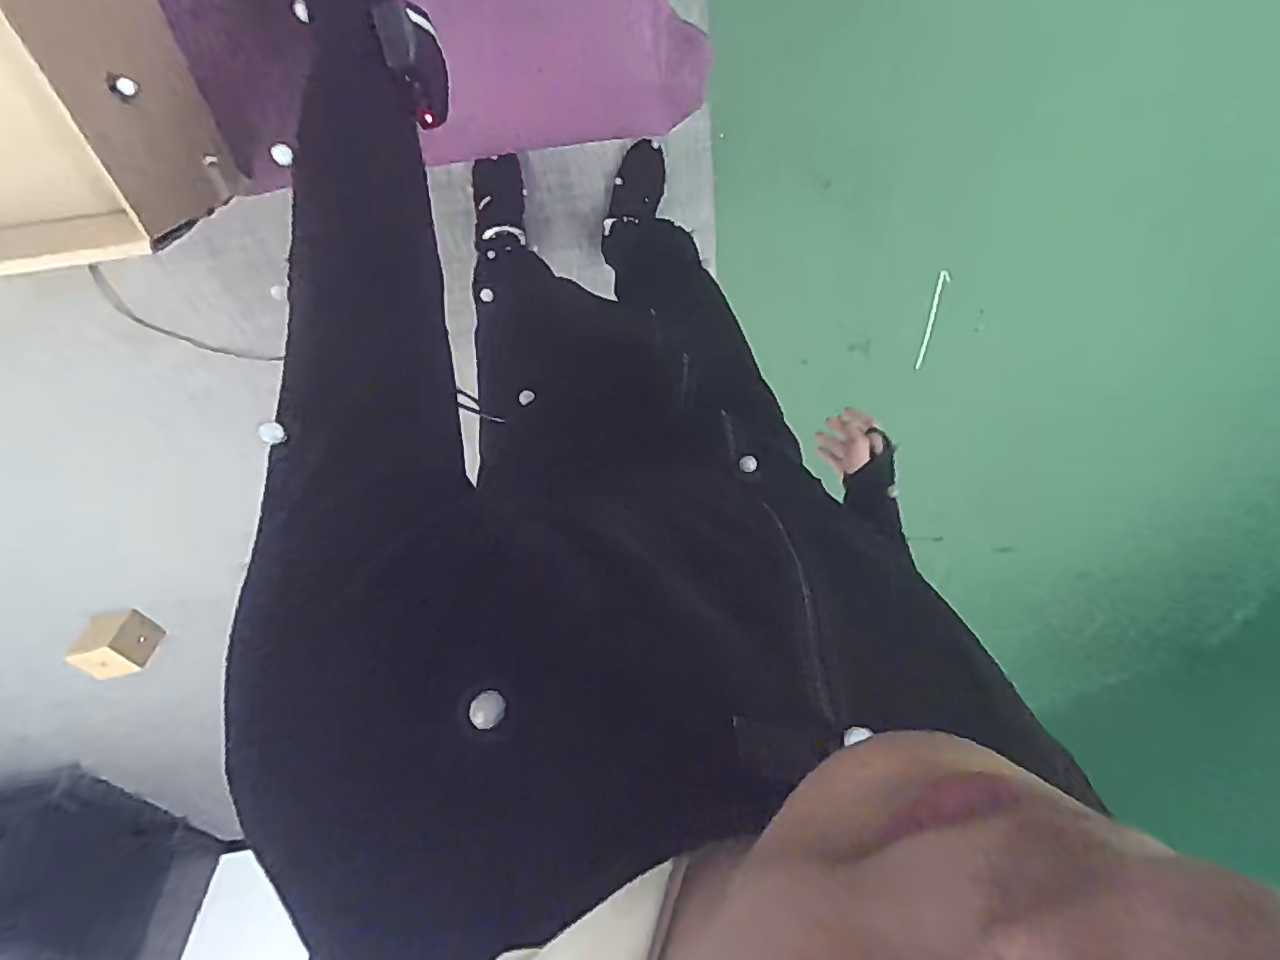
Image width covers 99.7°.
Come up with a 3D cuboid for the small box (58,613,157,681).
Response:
[{"bbox_3d":[-1.958,0.615,2.006,0.179,0.176,0.168,-13,130,2],"label":"small box"}]
